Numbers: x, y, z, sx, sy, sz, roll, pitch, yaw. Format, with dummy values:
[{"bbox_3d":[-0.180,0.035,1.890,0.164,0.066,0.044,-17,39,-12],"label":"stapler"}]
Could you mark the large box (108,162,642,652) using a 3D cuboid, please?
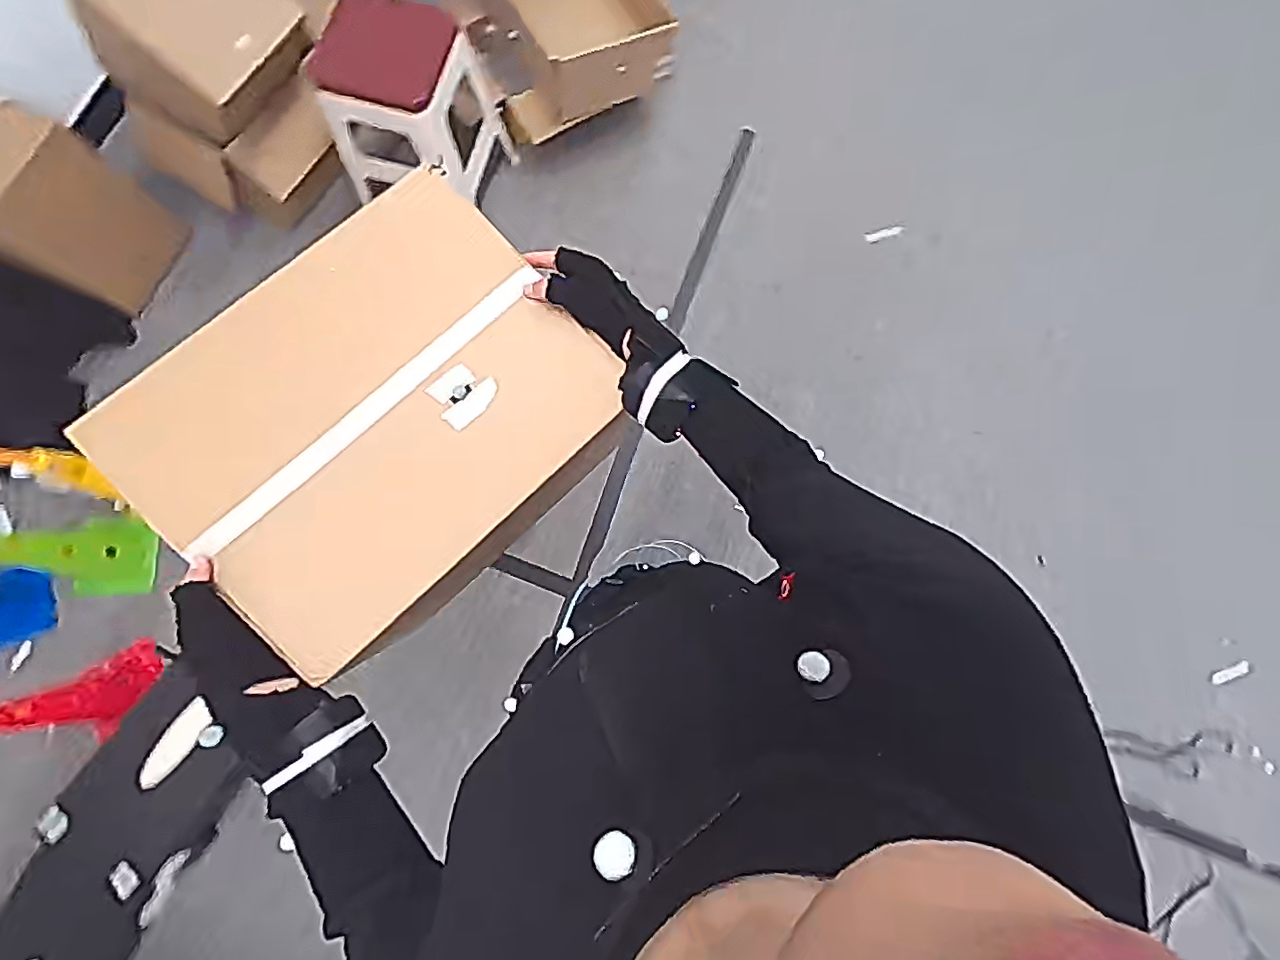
[{"bbox_3d":[-0.259,-0.066,0.665,0.408,0.320,0.320,-42,91,-10],"label":"large box"}]
